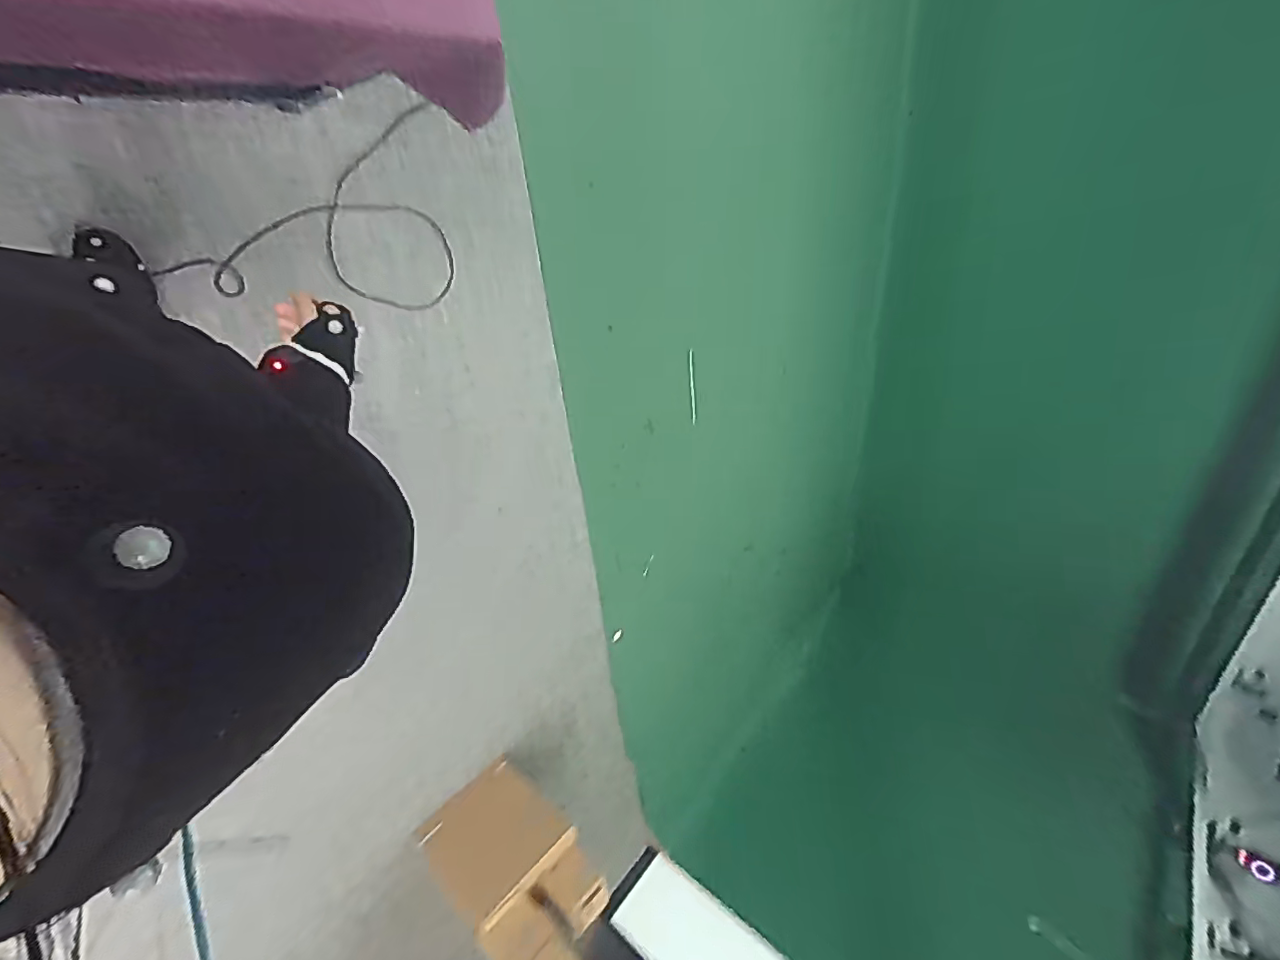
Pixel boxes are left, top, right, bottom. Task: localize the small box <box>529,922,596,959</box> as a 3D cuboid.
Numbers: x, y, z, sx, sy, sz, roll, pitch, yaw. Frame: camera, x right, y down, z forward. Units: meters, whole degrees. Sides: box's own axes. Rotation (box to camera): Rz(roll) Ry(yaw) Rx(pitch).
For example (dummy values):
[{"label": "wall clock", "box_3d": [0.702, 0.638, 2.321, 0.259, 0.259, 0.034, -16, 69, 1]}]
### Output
[{"label": "small box", "box_3d": [-0.243, 1.545, 1.674, 0.179, 0.176, 0.168, -30, 126, -40]}]
